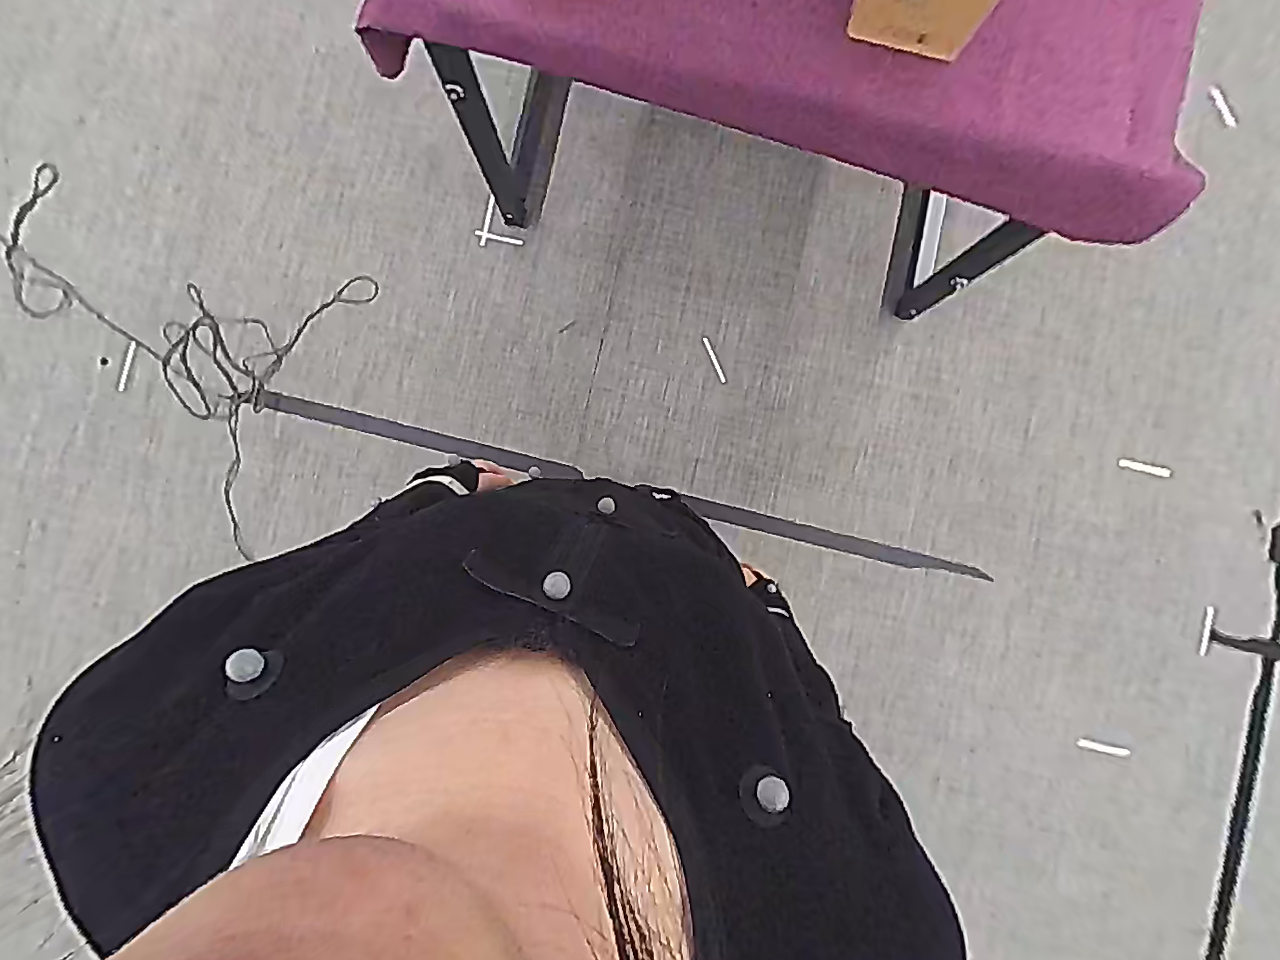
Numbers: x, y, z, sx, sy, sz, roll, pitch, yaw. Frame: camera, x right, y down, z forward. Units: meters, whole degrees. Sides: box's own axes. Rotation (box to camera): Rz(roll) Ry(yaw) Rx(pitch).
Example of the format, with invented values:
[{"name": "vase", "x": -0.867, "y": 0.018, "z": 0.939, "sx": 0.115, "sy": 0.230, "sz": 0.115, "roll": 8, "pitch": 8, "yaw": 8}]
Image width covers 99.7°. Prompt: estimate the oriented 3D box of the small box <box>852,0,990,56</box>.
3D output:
[{"name": "small box", "x": 0.409, "y": -0.733, "z": 0.735, "sx": 0.168, "sy": 0.176, "sz": 0.179, "roll": 13, "pitch": 87, "yaw": 0}]
